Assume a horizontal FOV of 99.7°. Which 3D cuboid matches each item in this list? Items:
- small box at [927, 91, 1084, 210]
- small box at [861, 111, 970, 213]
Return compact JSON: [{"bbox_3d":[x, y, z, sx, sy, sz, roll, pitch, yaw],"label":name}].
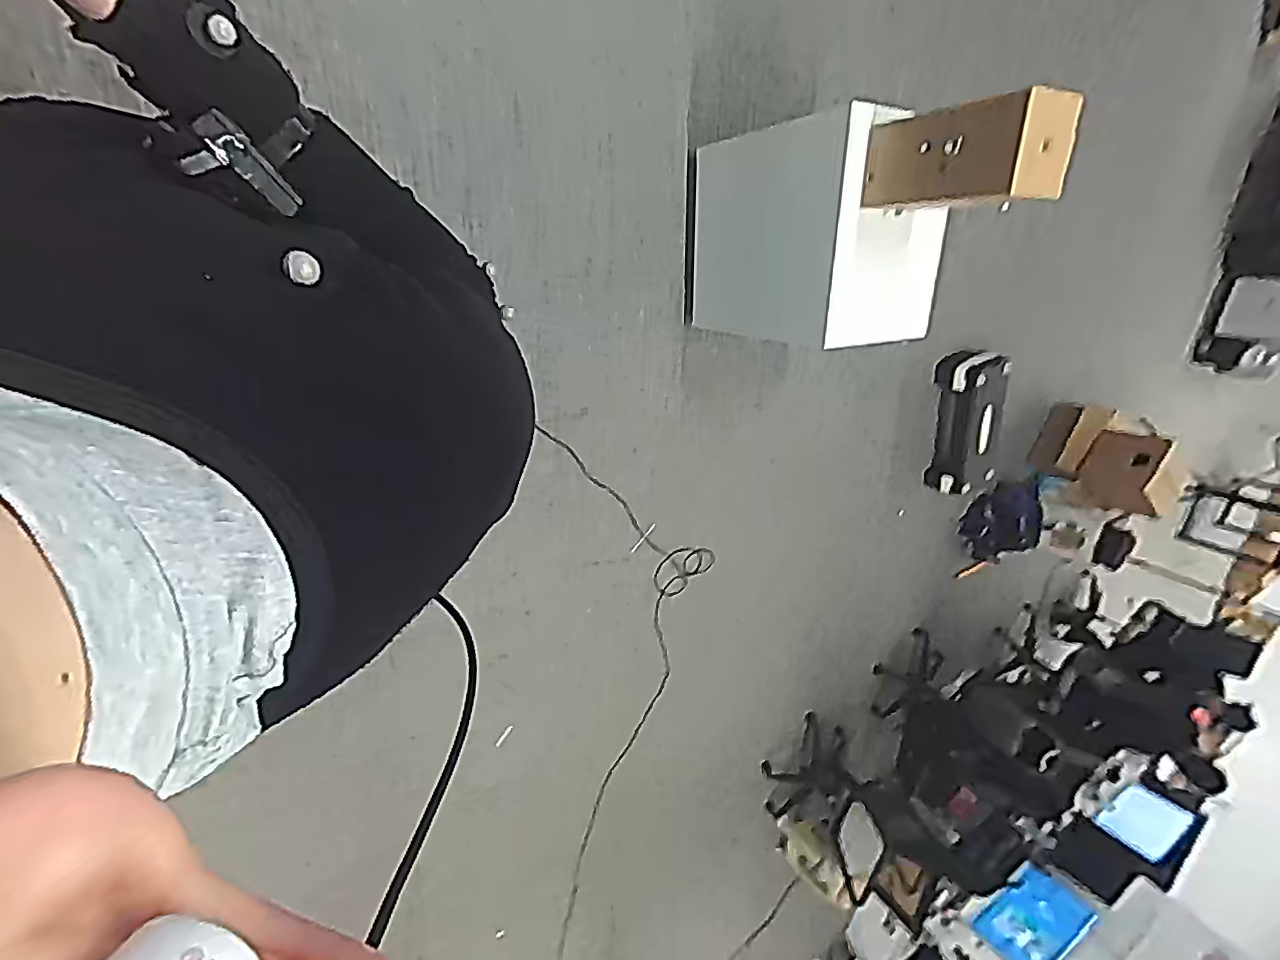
[{"bbox_3d":[0.688,-0.616,1.031,0.179,0.176,0.168,-14,115,-26],"label":"small box"},{"bbox_3d":[0.611,-0.673,1.164,0.179,0.176,0.168,-13,116,-28],"label":"small box"}]
